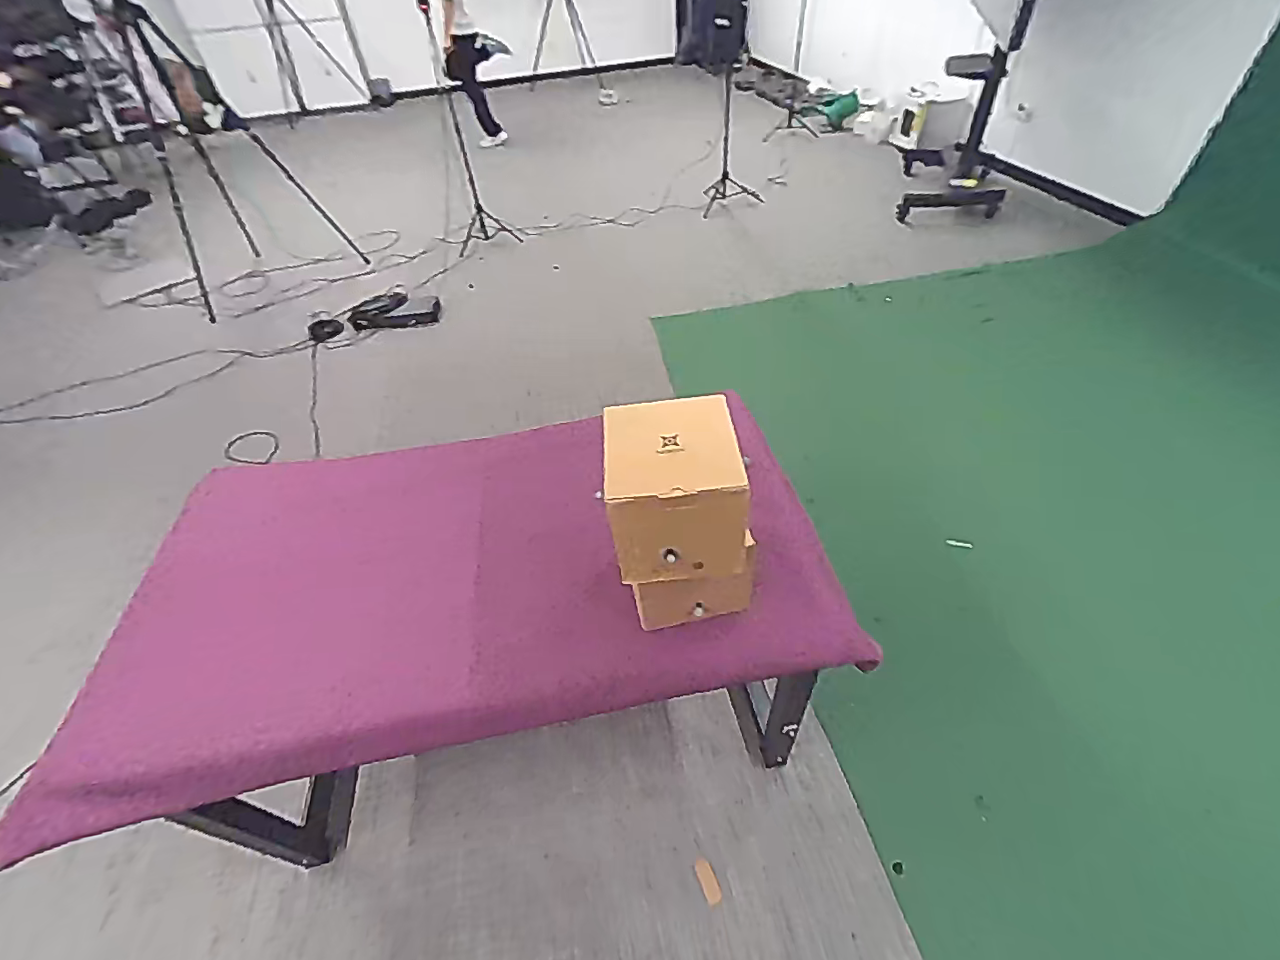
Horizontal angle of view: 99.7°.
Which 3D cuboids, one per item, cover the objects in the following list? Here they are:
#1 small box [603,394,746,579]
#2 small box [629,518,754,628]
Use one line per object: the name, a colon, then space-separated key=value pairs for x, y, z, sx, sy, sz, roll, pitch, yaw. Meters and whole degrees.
small box: x=0.042 y=0.009 z=0.725 sx=0.168 sy=0.176 sz=0.179 roll=-7 pitch=45 yaw=1
small box: x=0.066 y=0.109 z=0.854 sx=0.179 sy=0.176 sz=0.168 roll=-12 pitch=43 yaw=-5
